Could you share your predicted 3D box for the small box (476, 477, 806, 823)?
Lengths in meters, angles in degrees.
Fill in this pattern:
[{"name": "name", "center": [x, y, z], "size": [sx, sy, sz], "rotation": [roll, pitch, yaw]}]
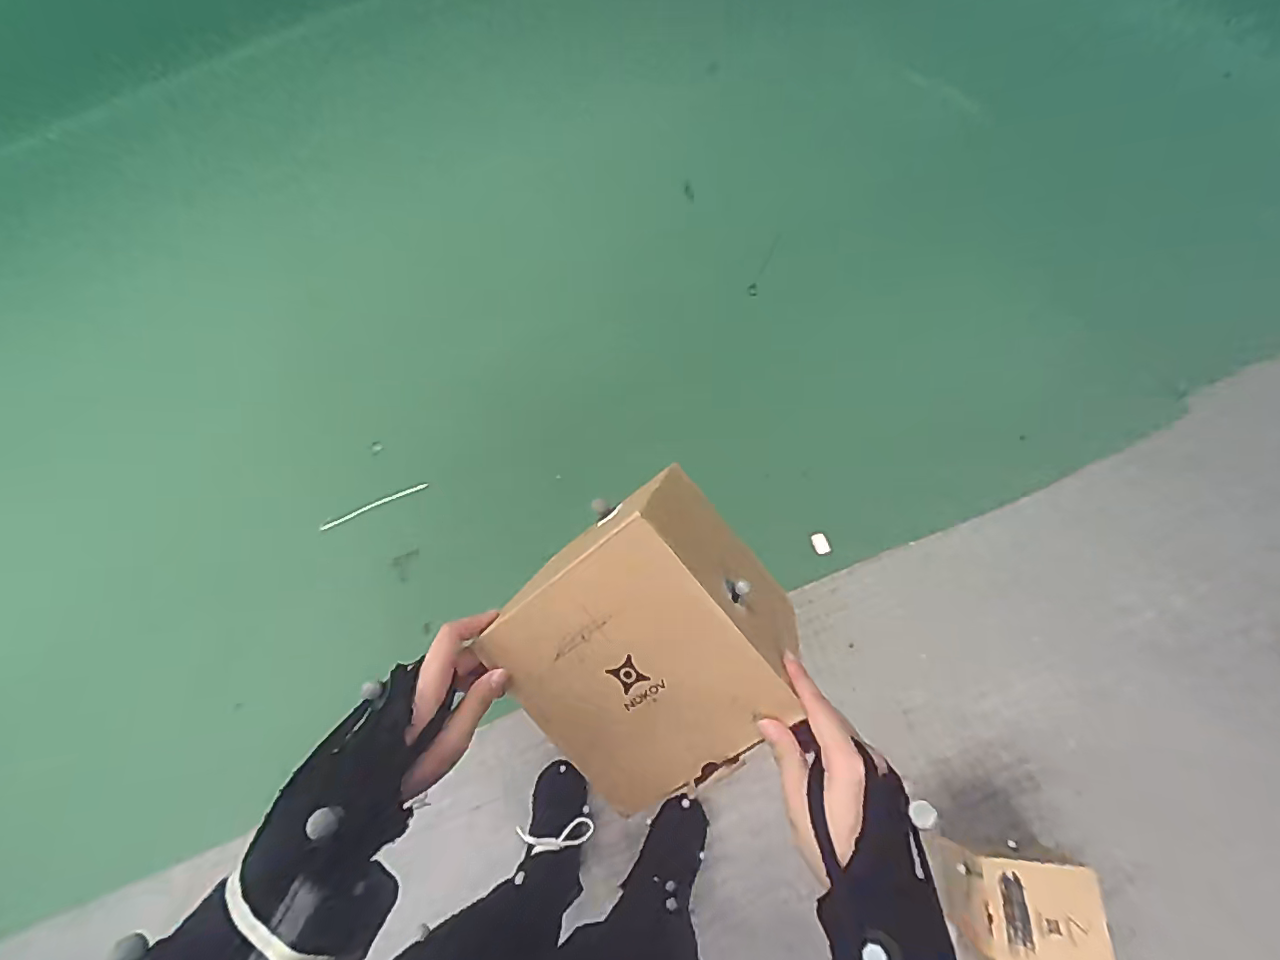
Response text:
[{"name": "small box", "center": [0.011, 0.121, 0.445], "size": [0.168, 0.176, 0.179], "rotation": [-40, 92, 16]}]
